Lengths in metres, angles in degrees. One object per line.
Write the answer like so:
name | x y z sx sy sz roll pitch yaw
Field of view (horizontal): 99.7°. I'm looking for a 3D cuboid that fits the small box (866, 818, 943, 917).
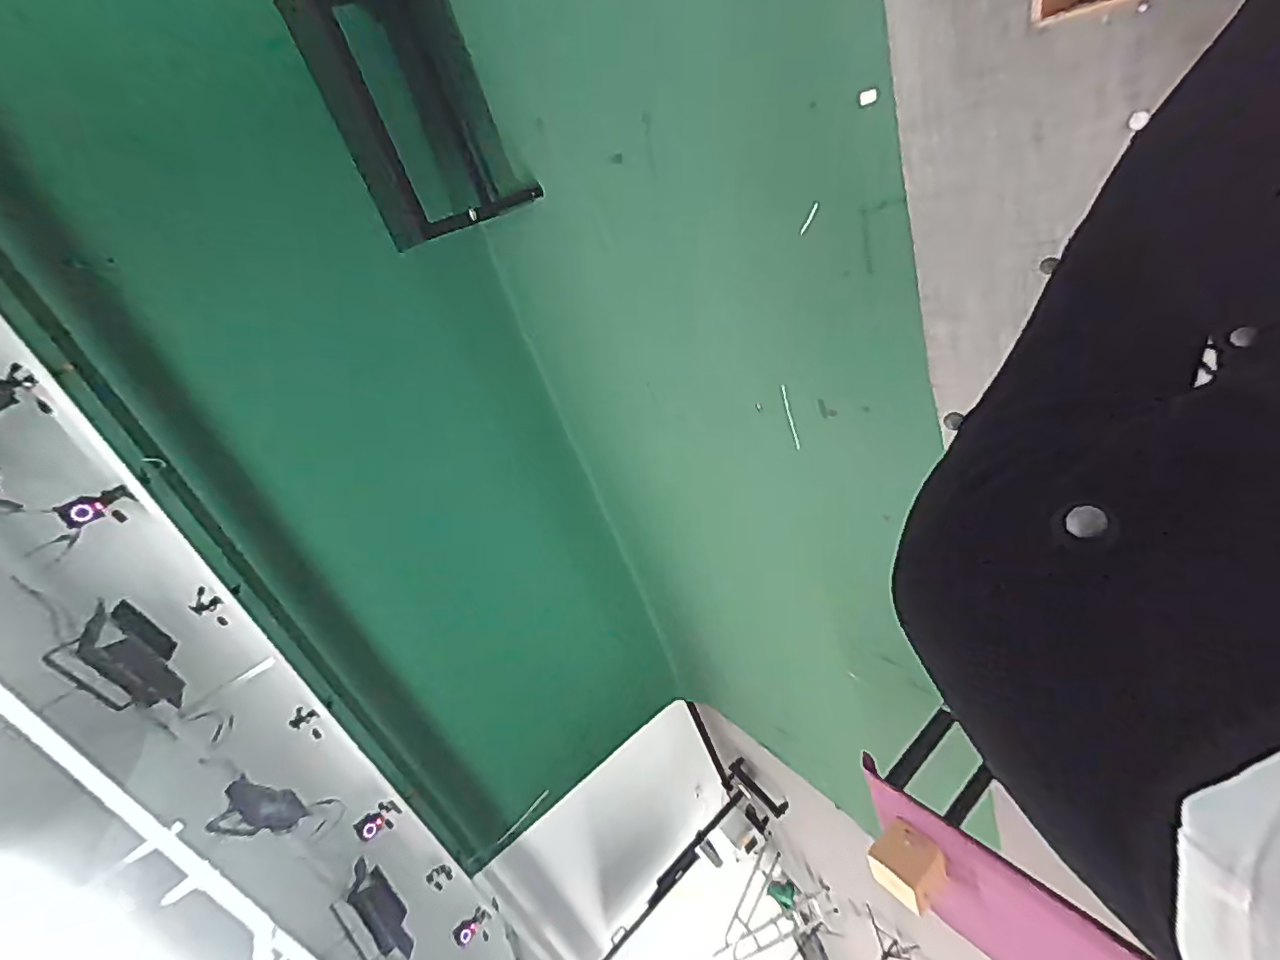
small box | 0.893 1.294 1.816 0.168 0.176 0.179 17 135 53
